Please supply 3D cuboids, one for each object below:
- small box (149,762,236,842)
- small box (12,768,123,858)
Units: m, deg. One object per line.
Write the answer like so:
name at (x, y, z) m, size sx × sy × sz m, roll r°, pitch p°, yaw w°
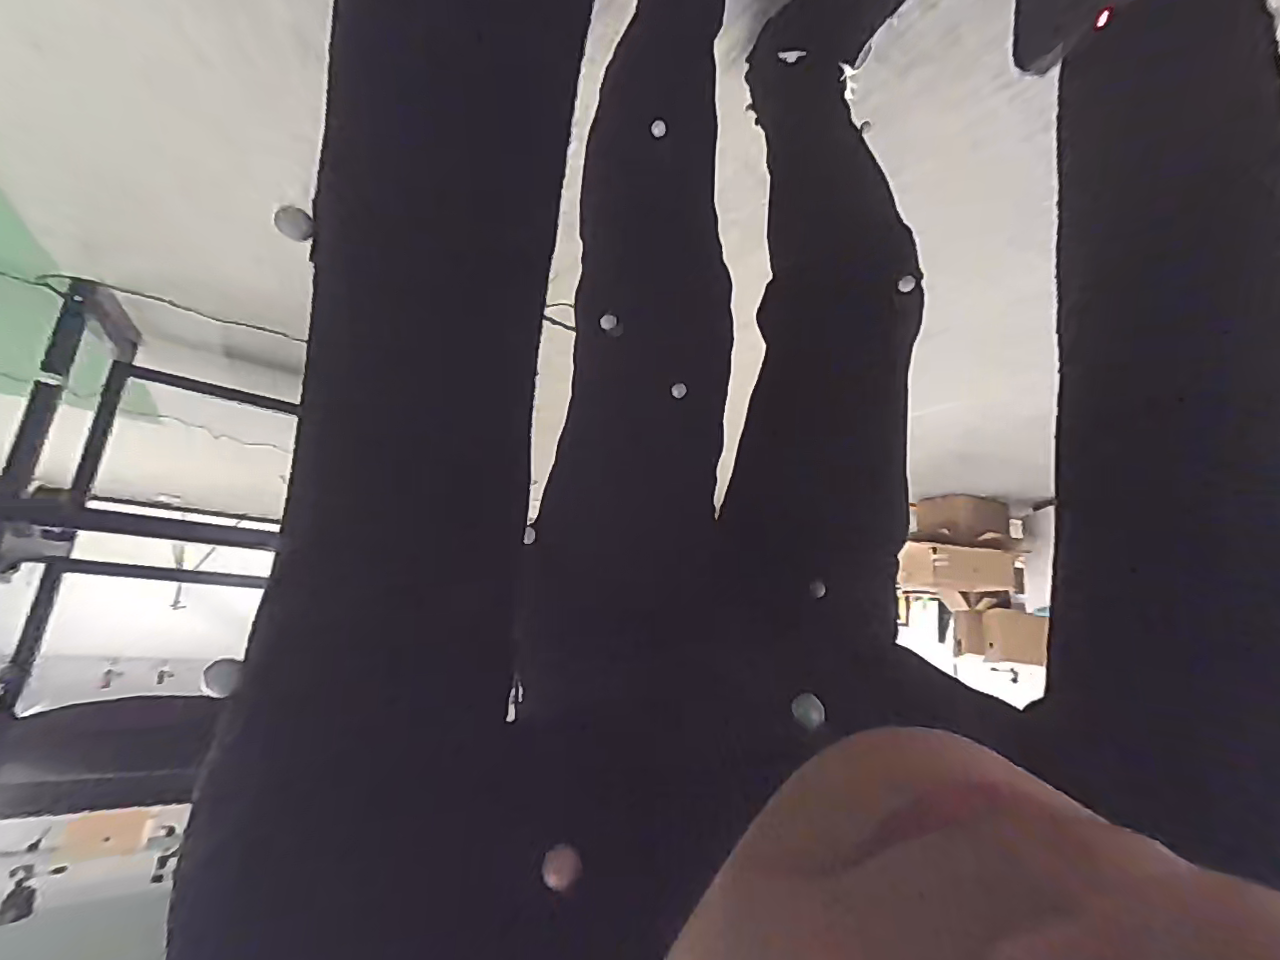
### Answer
small box at (-1.416, 1.010, 1.714) m, size 0.179 × 0.176 × 0.168 m, roll 16°, pitch 166°, yaw -37°
small box at (-1.634, 0.947, 1.559) m, size 0.179 × 0.176 × 0.168 m, roll 15°, pitch 166°, yaw -33°
